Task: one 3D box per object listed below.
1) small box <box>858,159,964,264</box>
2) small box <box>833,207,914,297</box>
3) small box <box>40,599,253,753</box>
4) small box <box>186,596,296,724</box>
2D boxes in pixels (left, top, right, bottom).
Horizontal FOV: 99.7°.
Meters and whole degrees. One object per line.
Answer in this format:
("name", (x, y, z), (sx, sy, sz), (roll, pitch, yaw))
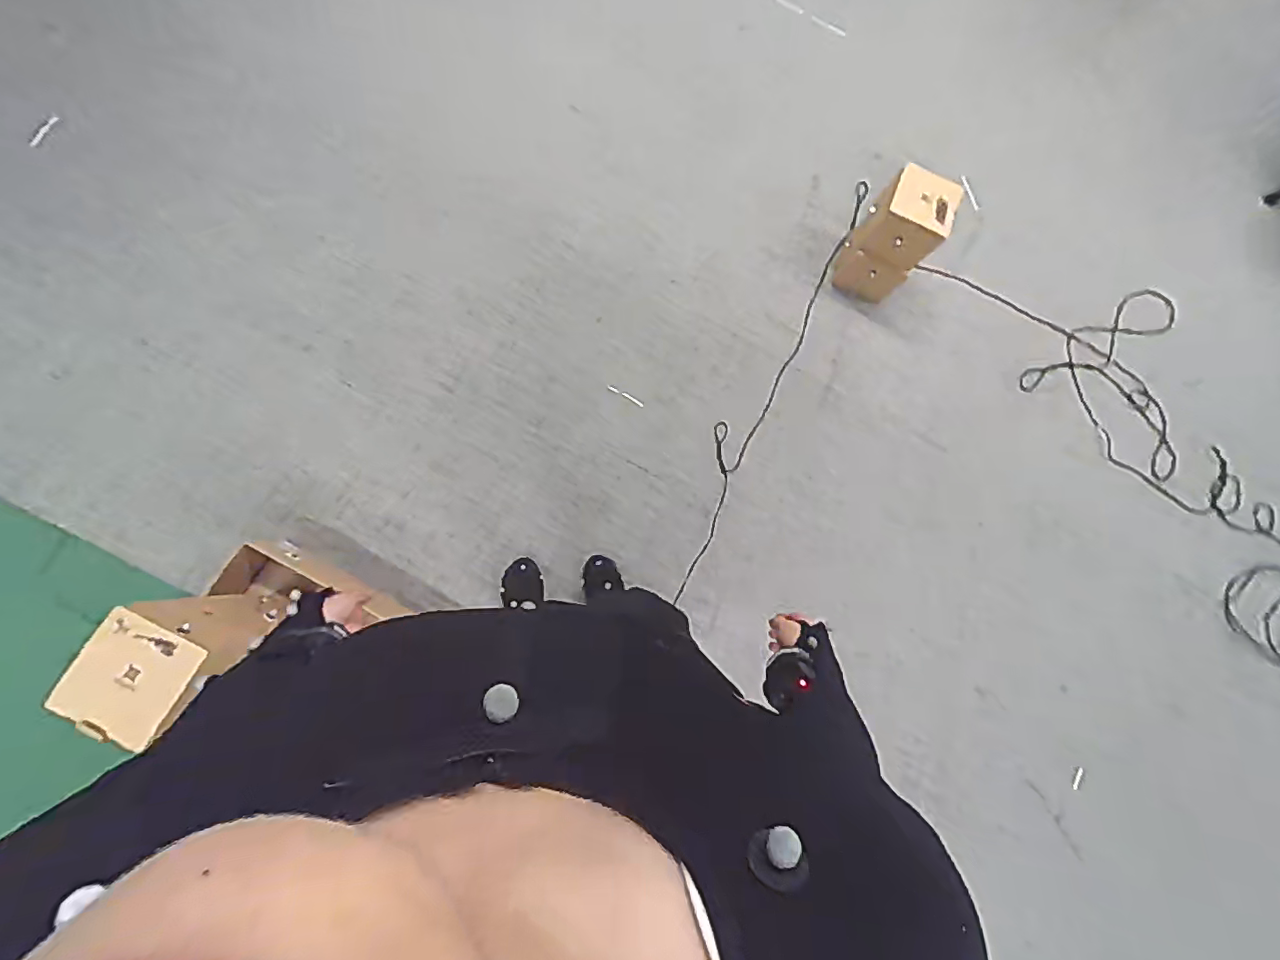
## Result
("small box", (0.743, -0.731, 1.495), (0.179, 0.176, 0.168), (23, 79, -2))
("small box", (0.720, -0.688, 1.653), (0.179, 0.176, 0.168), (20, 80, -4))
("small box", (-0.817, 0.320, 0.921), (0.168, 0.176, 0.179), (29, 79, -3))
("small box", (-0.839, 0.348, 1.082), (0.168, 0.176, 0.179), (32, 77, -2))
